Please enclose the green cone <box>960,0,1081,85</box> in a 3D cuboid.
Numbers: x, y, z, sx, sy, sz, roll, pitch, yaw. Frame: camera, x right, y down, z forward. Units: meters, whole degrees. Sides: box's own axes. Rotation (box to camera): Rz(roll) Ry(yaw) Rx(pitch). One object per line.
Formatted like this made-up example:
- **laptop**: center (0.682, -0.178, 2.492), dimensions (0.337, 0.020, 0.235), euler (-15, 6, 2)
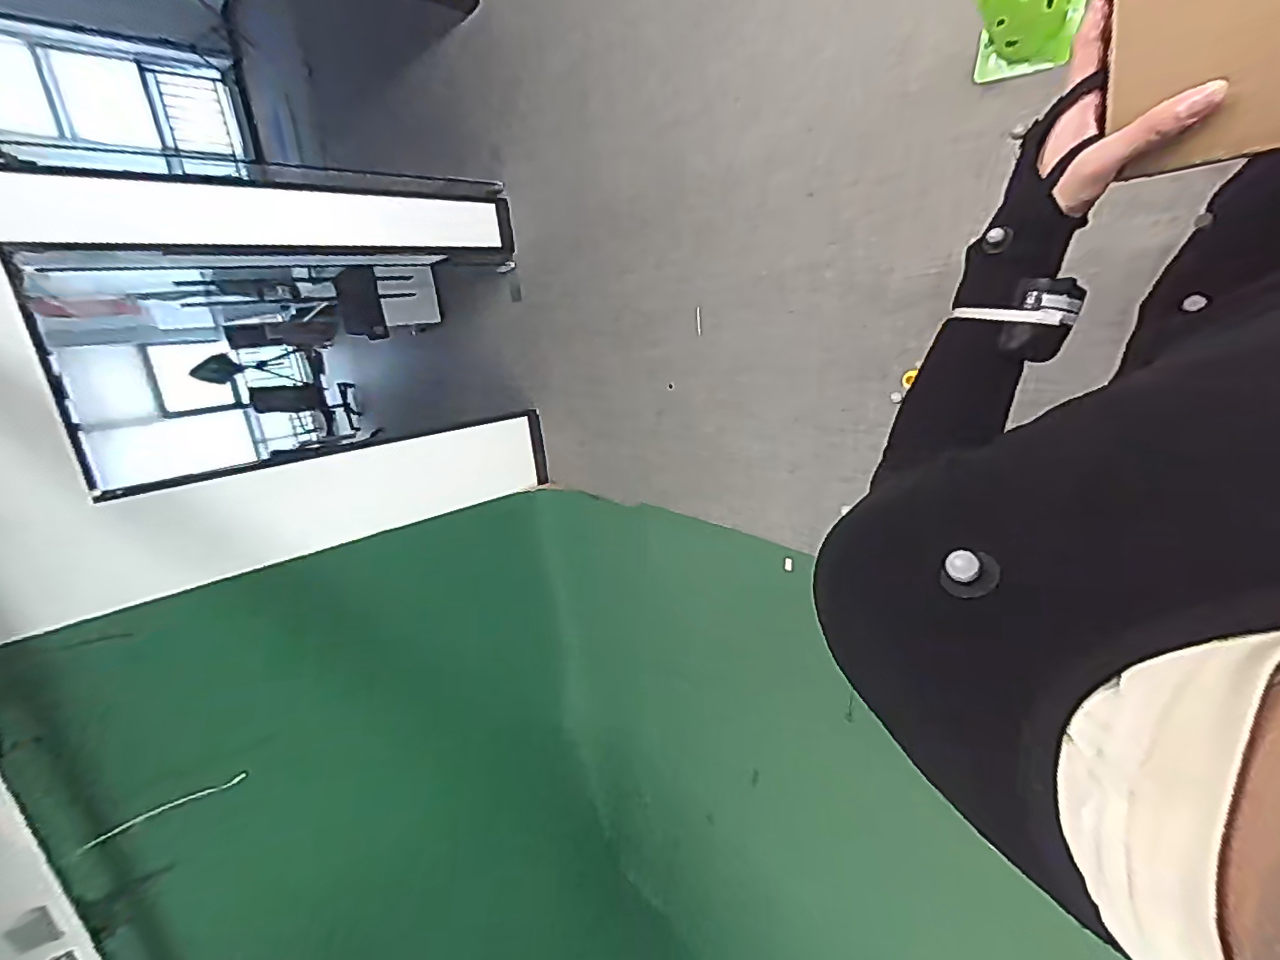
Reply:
- **green cone**: center (0.737, -0.983, 1.114), dimensions (0.200, 0.368, 0.202), euler (22, 122, 45)
